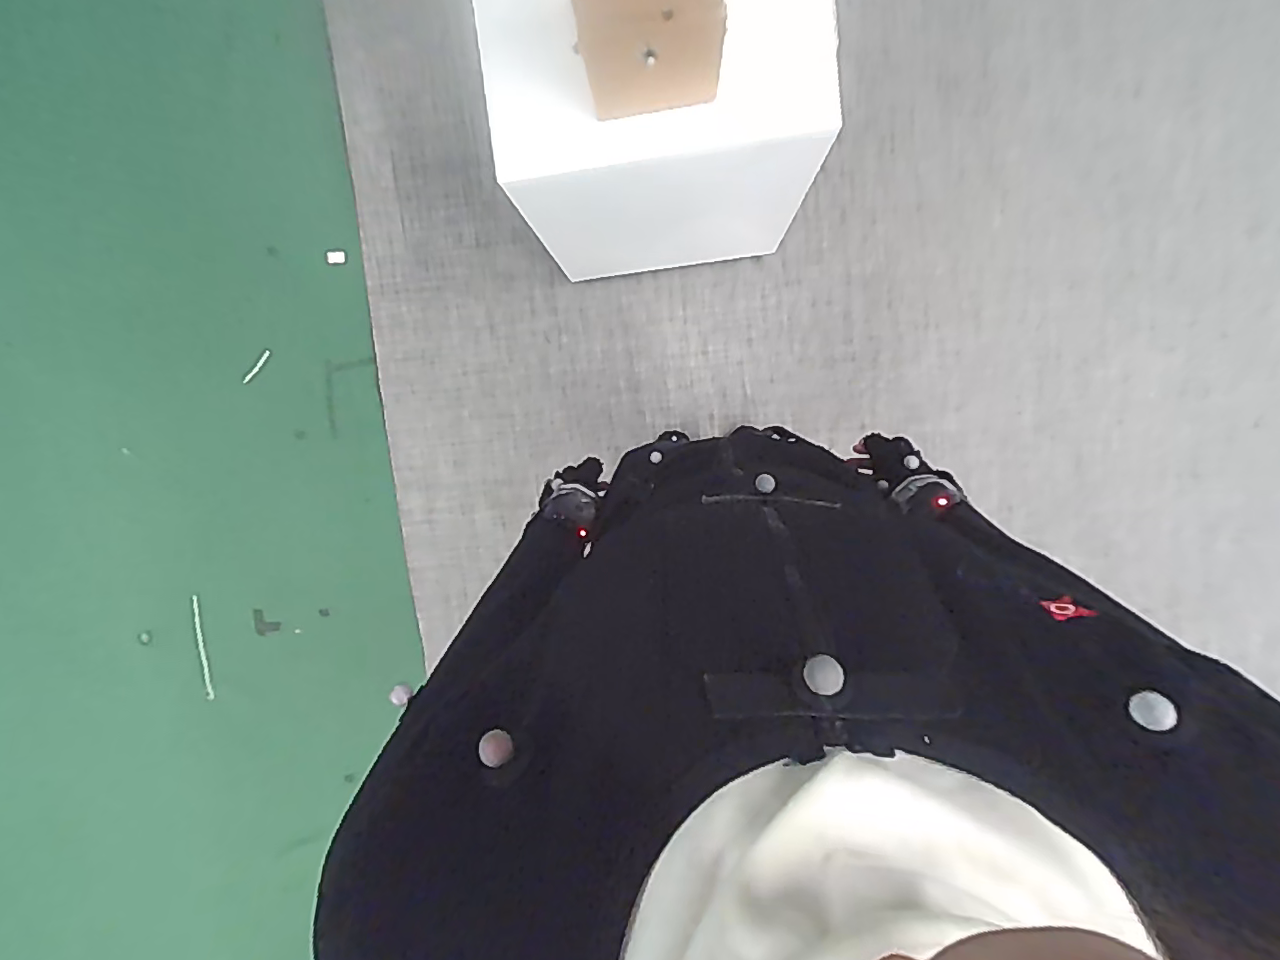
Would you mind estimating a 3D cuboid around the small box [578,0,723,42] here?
[{"bbox_3d":[0.001,-0.599,0.543,0.168,0.176,0.179,-8,96,4],"label":"small box"}]

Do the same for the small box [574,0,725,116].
[{"bbox_3d":[0.011,-0.611,0.704,0.179,0.176,0.168,-6,95,4],"label":"small box"}]
